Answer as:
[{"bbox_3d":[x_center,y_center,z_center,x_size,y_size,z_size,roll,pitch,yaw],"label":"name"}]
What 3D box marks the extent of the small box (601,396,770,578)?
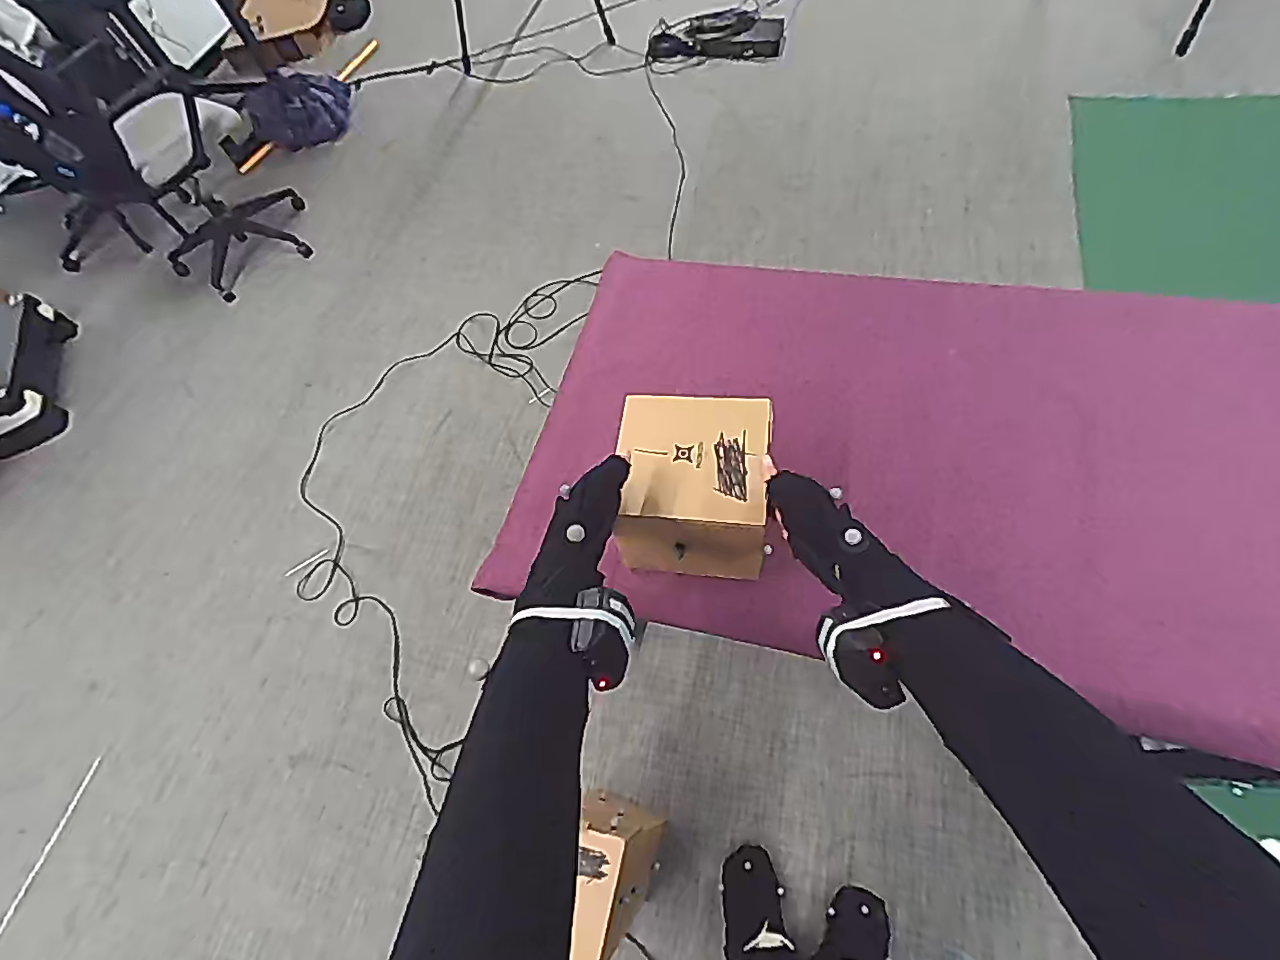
[{"bbox_3d":[0.064,0.015,0.681,0.179,0.176,0.168,5,61,11],"label":"small box"}]
